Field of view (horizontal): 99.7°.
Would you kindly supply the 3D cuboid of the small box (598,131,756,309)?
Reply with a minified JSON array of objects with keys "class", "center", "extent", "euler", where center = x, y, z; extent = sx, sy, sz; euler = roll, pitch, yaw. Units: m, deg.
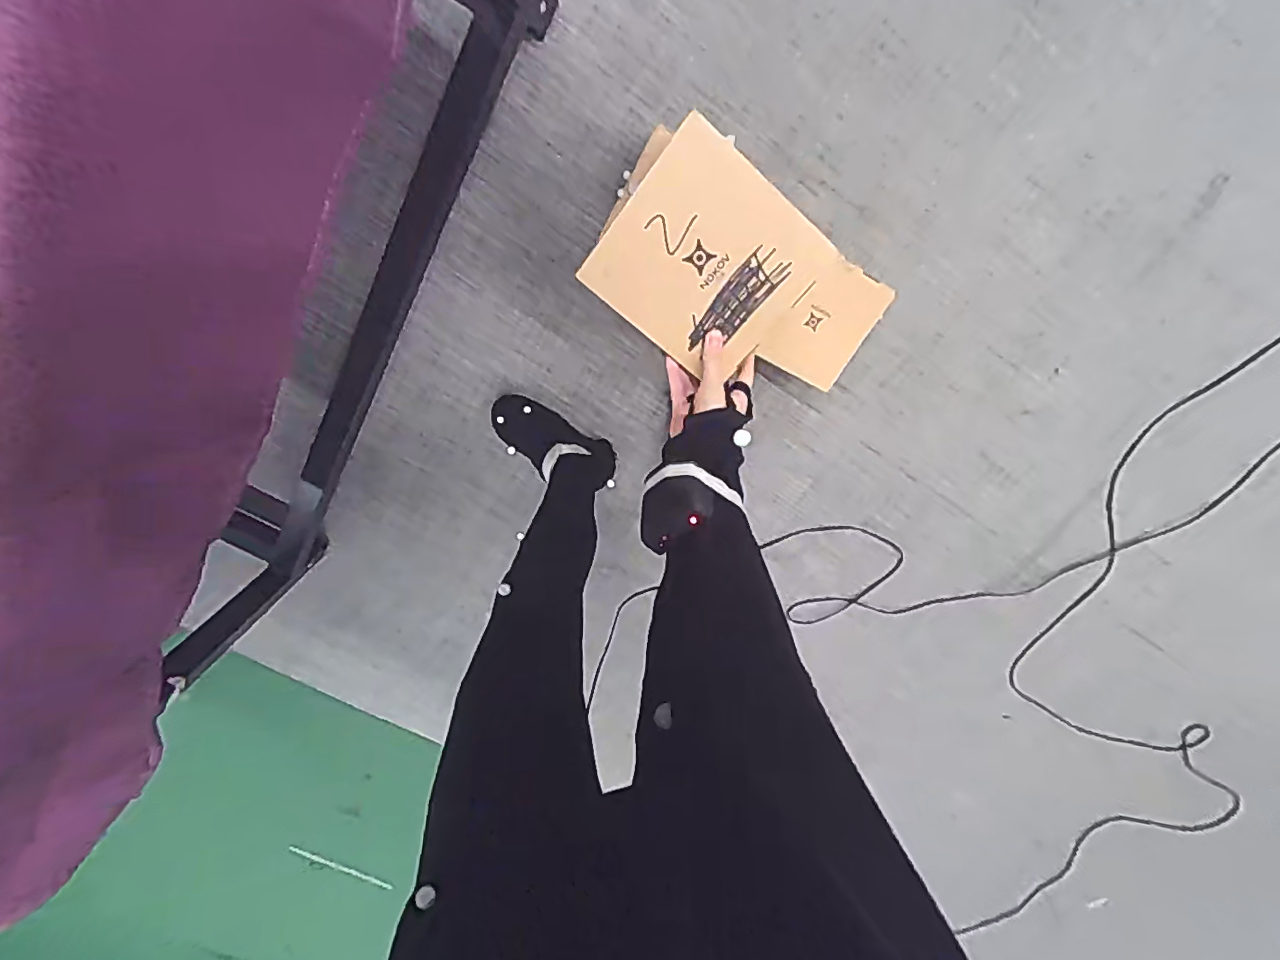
[{"class":"small box","center":[0.053,-0.398,0.838],"extent":[0.168,0.176,0.179],"euler":[30,116,-11]}]

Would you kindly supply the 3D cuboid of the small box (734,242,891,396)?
[{"class":"small box","center":[0.266,-0.269,0.887],"extent":[0.168,0.176,0.179],"euler":[26,114,-8]}]
